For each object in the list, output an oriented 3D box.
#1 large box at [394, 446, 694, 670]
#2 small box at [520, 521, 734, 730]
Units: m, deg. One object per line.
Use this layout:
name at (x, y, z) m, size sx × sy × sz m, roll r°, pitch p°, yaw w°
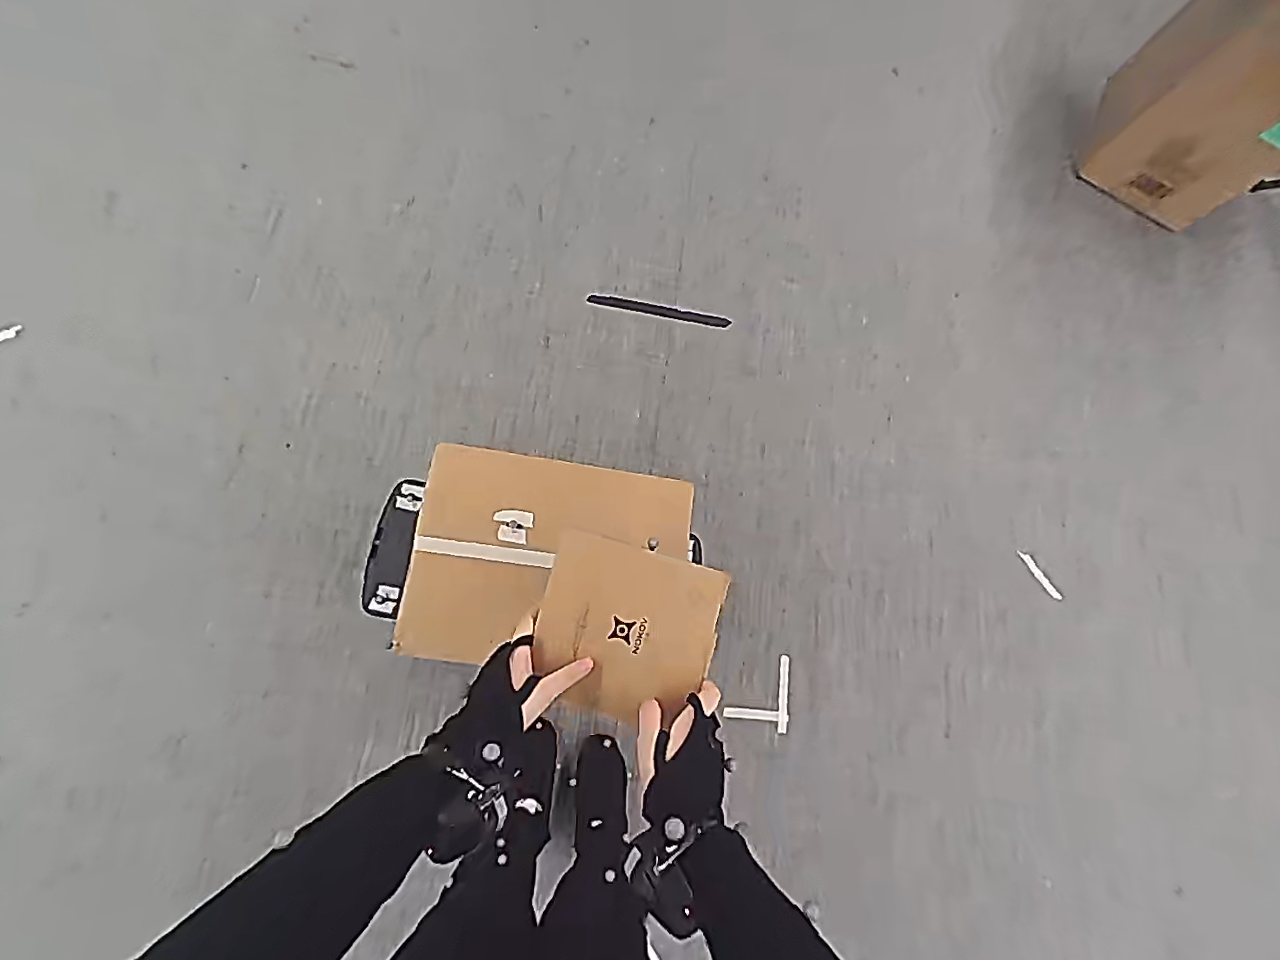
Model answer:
large box at (-0.143, 0.154, 0.941) m, size 0.408 × 0.320 × 0.320 m, roll 9°, pitch 76°, yaw -5°
small box at (-0.014, 0.151, 0.610) m, size 0.179 × 0.176 × 0.168 m, roll 17°, pitch 82°, yaw 0°
